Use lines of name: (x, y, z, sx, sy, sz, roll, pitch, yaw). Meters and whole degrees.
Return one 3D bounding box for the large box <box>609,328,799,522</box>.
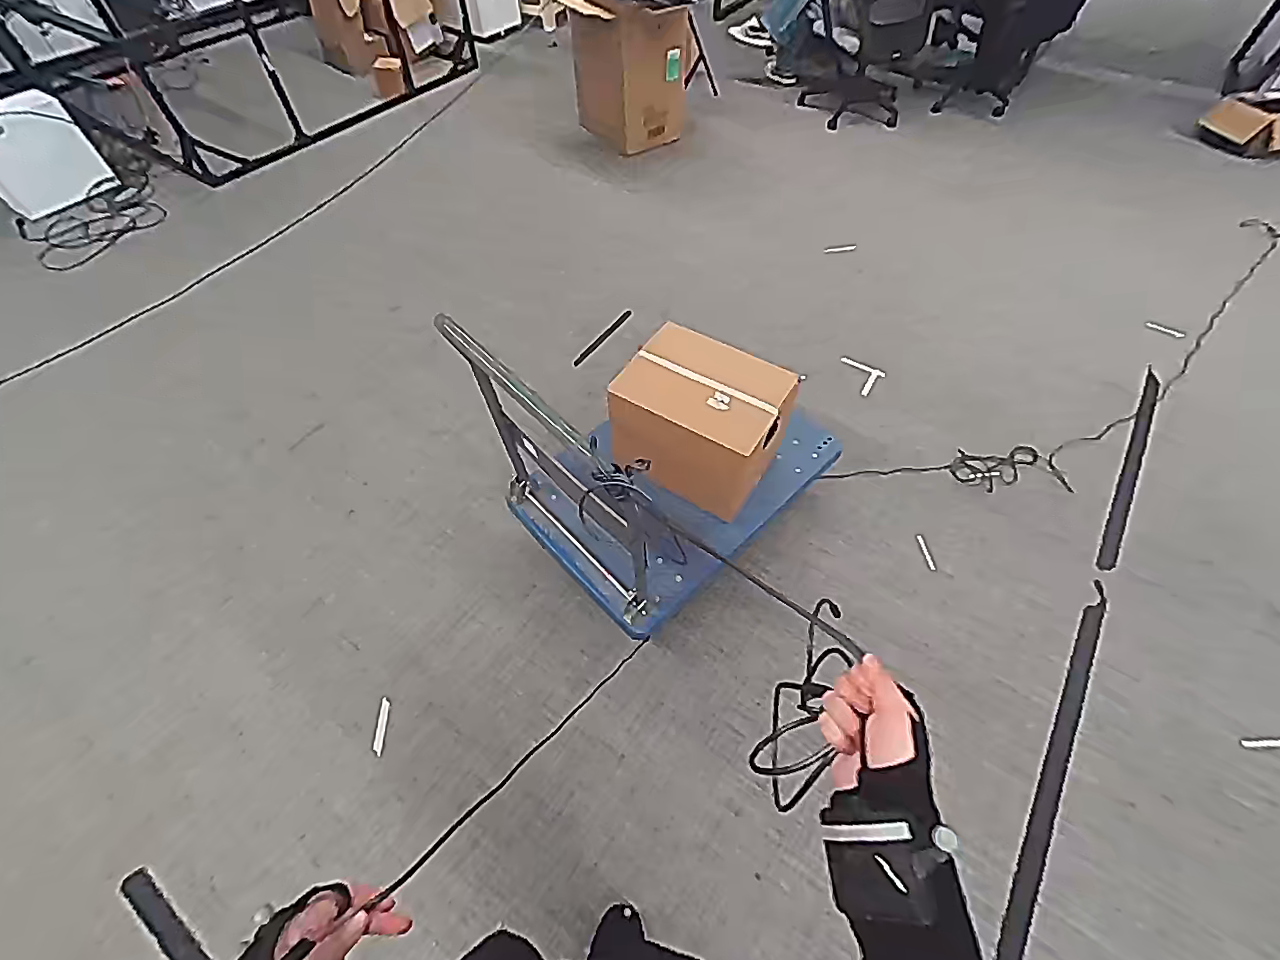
large box: (0.162, -0.152, 1.496, 0.408, 0.320, 0.320, 28, 61, 18)
